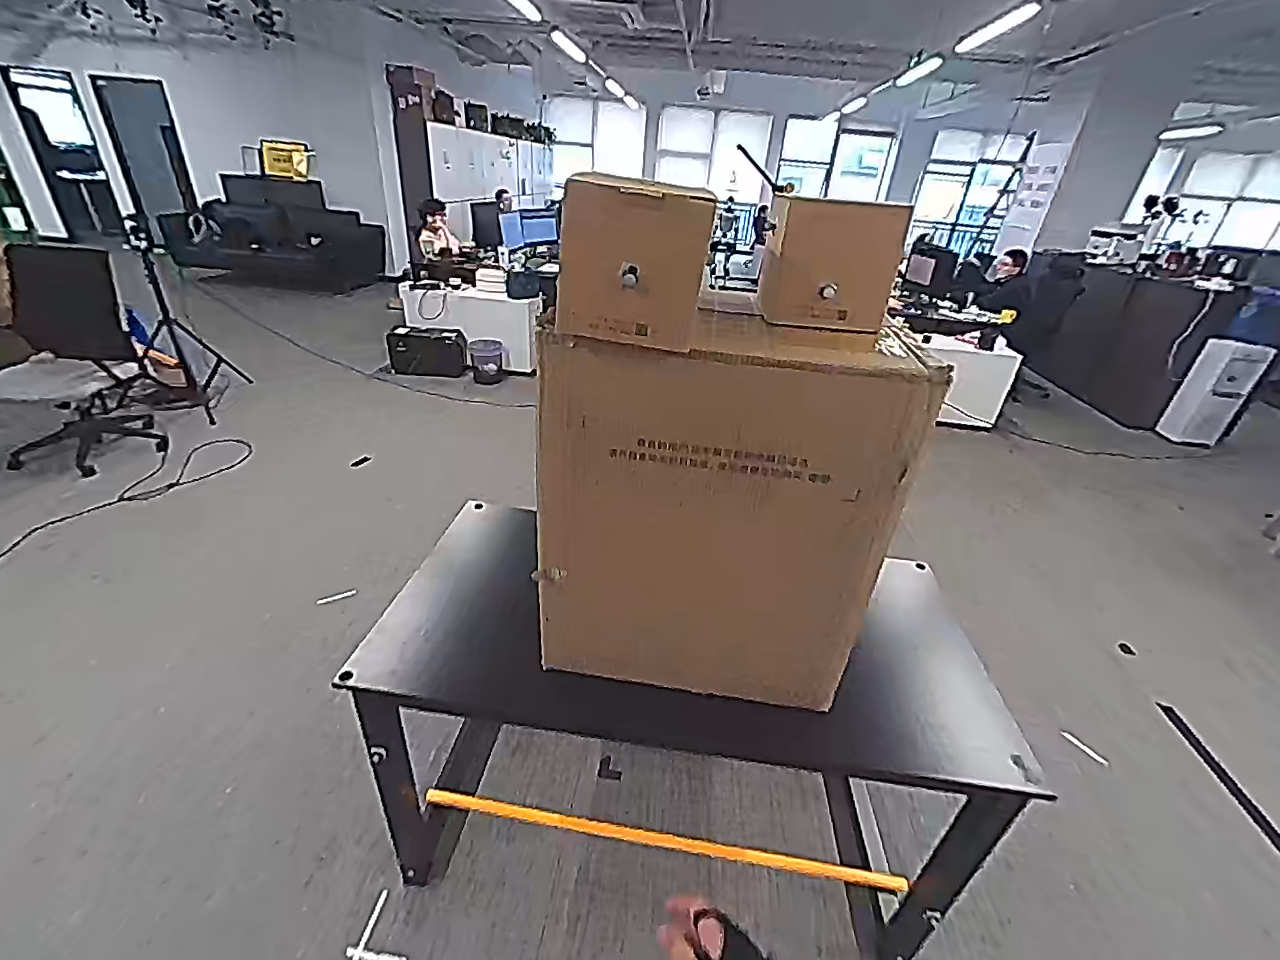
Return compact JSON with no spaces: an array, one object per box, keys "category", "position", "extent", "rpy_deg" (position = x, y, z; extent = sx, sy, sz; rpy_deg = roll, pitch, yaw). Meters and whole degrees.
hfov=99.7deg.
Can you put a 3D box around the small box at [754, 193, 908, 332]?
[{"category":"small box","position":[0.274,-0.334,0.822],"extent":[0.168,0.176,0.179],"rpy_deg":[5,29,3]}]

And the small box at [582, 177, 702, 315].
[{"category":"small box","position":[0.004,-0.369,0.850],"extent":[0.168,0.176,0.179],"rpy_deg":[6,29,3]}]
